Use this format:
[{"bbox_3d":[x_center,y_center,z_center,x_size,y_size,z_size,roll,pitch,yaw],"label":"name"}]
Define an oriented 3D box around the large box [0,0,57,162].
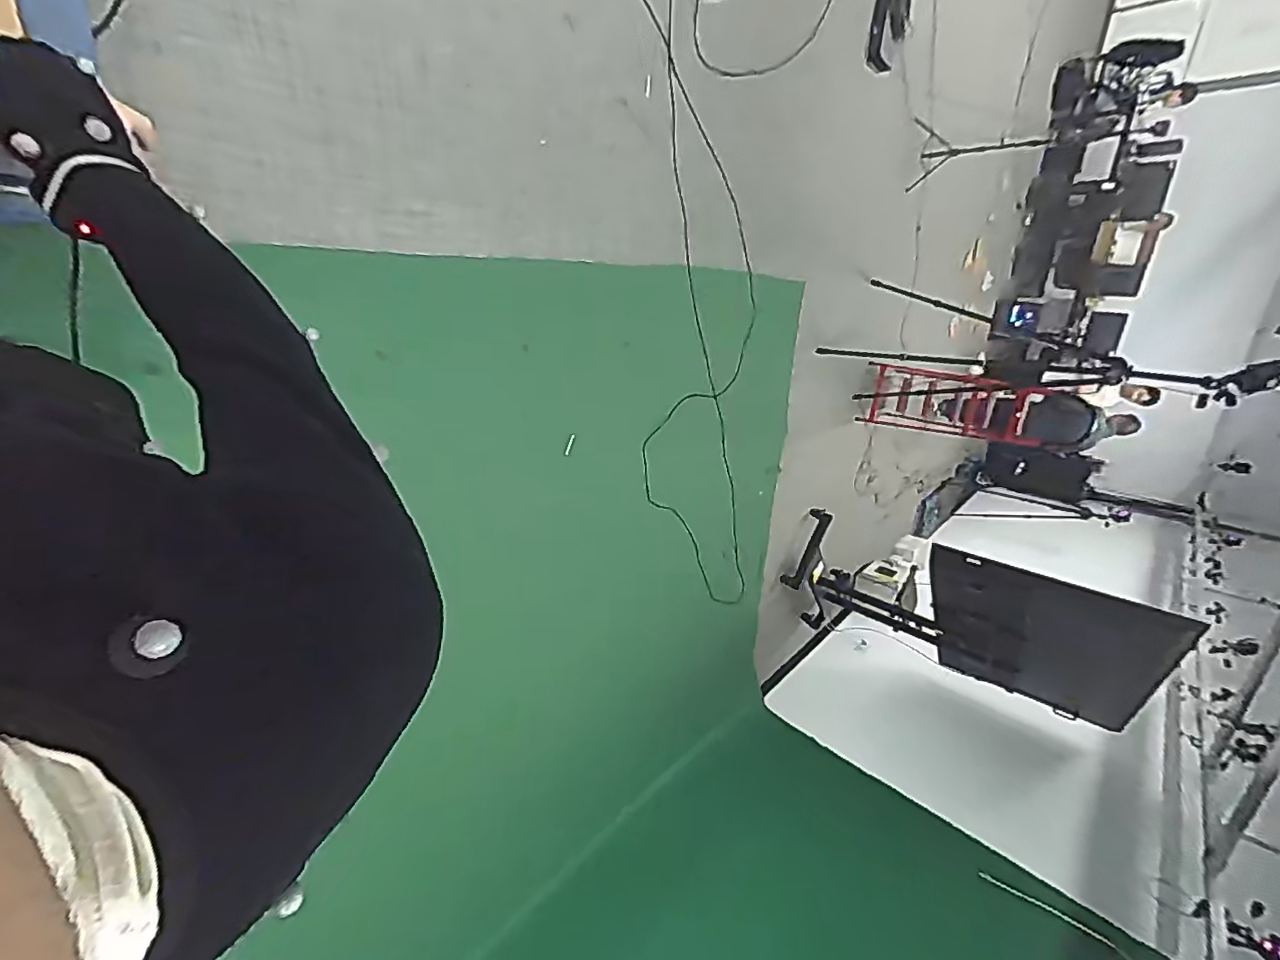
[{"bbox_3d":[-0.977,-0.647,0.641,0.320,0.320,0.408,-18,116,-44],"label":"large box"}]
